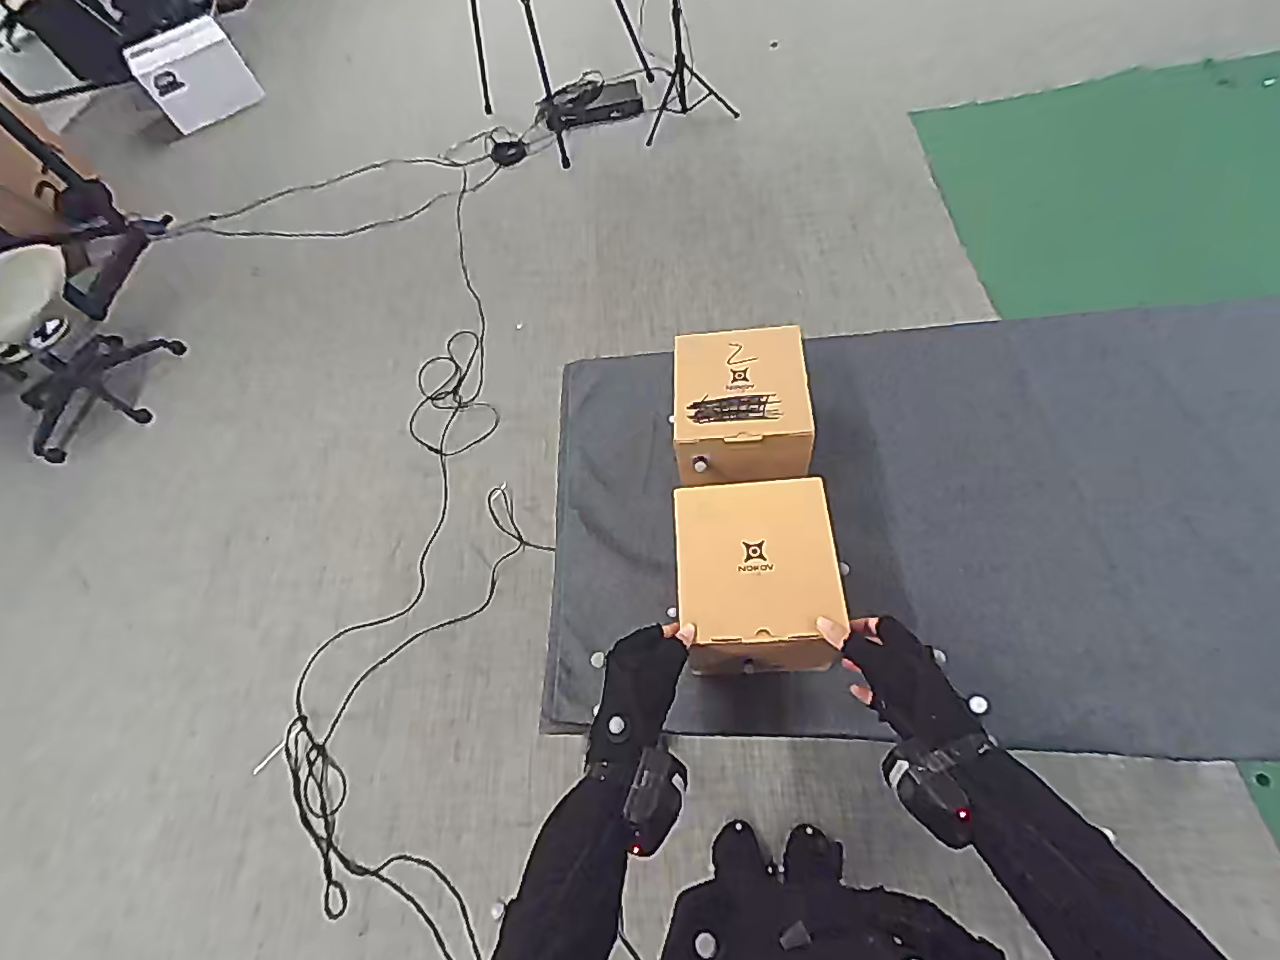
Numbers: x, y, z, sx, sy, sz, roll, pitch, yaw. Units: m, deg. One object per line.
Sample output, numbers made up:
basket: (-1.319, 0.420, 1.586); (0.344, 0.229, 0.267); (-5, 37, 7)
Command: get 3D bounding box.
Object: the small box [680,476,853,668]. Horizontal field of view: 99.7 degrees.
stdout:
small box: (0.137, 0.115, 0.640); (0.168, 0.176, 0.179); (-5, 61, 8)
